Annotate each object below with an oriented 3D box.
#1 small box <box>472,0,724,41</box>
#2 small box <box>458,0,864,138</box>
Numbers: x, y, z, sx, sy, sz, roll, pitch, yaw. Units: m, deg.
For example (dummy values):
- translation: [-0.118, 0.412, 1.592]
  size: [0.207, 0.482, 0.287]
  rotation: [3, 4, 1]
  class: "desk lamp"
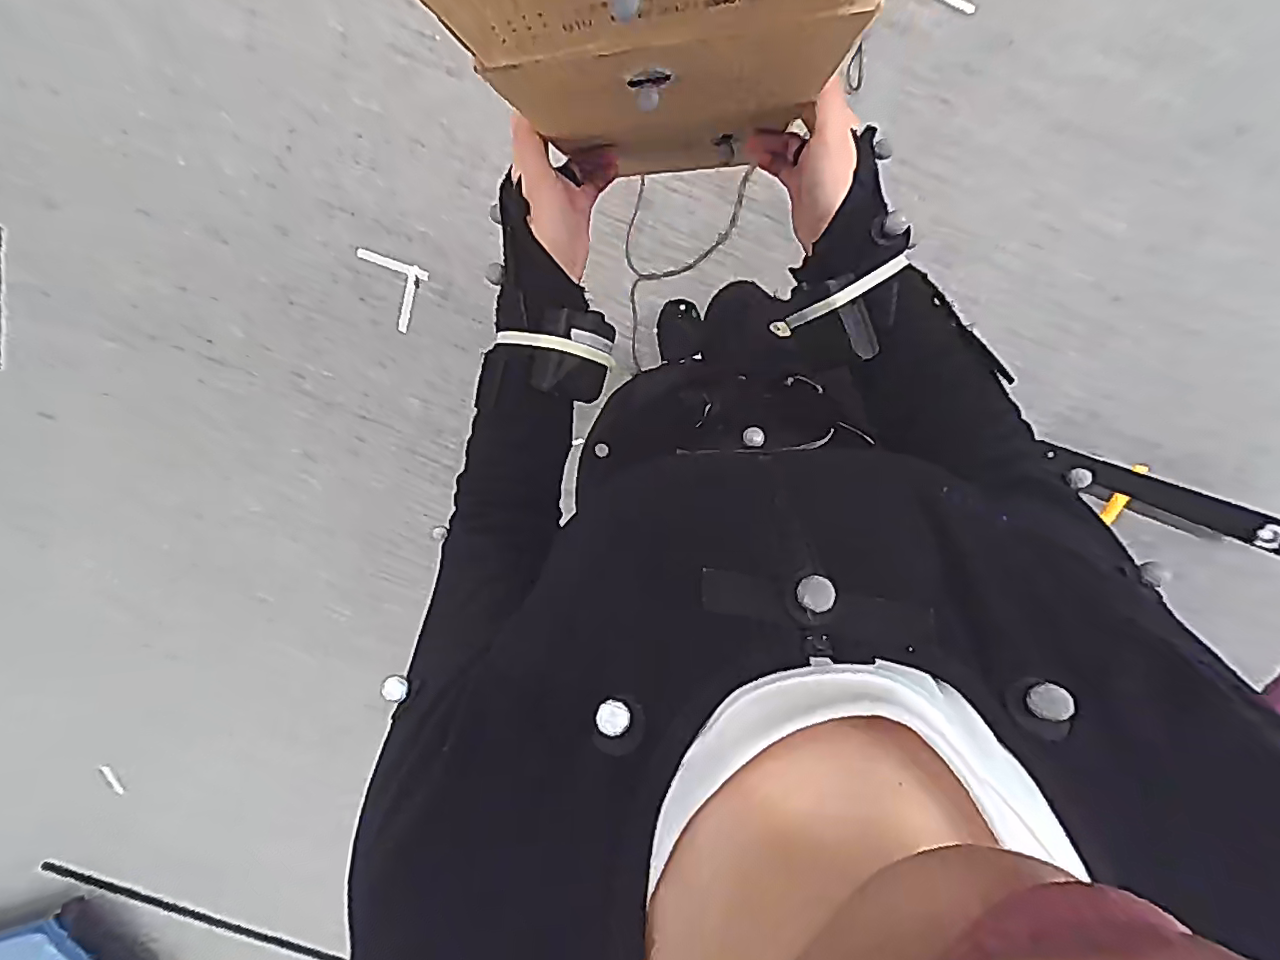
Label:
- translation: [-0.005, -0.240, 0.112]
  size: [0.168, 0.176, 0.179]
  rotation: [-5, 111, 7]
  class: "small box"
- translation: [0.012, -0.288, 0.267]
  size: [0.179, 0.176, 0.168]
  rotation: [-4, 110, 6]
  class: "small box"
